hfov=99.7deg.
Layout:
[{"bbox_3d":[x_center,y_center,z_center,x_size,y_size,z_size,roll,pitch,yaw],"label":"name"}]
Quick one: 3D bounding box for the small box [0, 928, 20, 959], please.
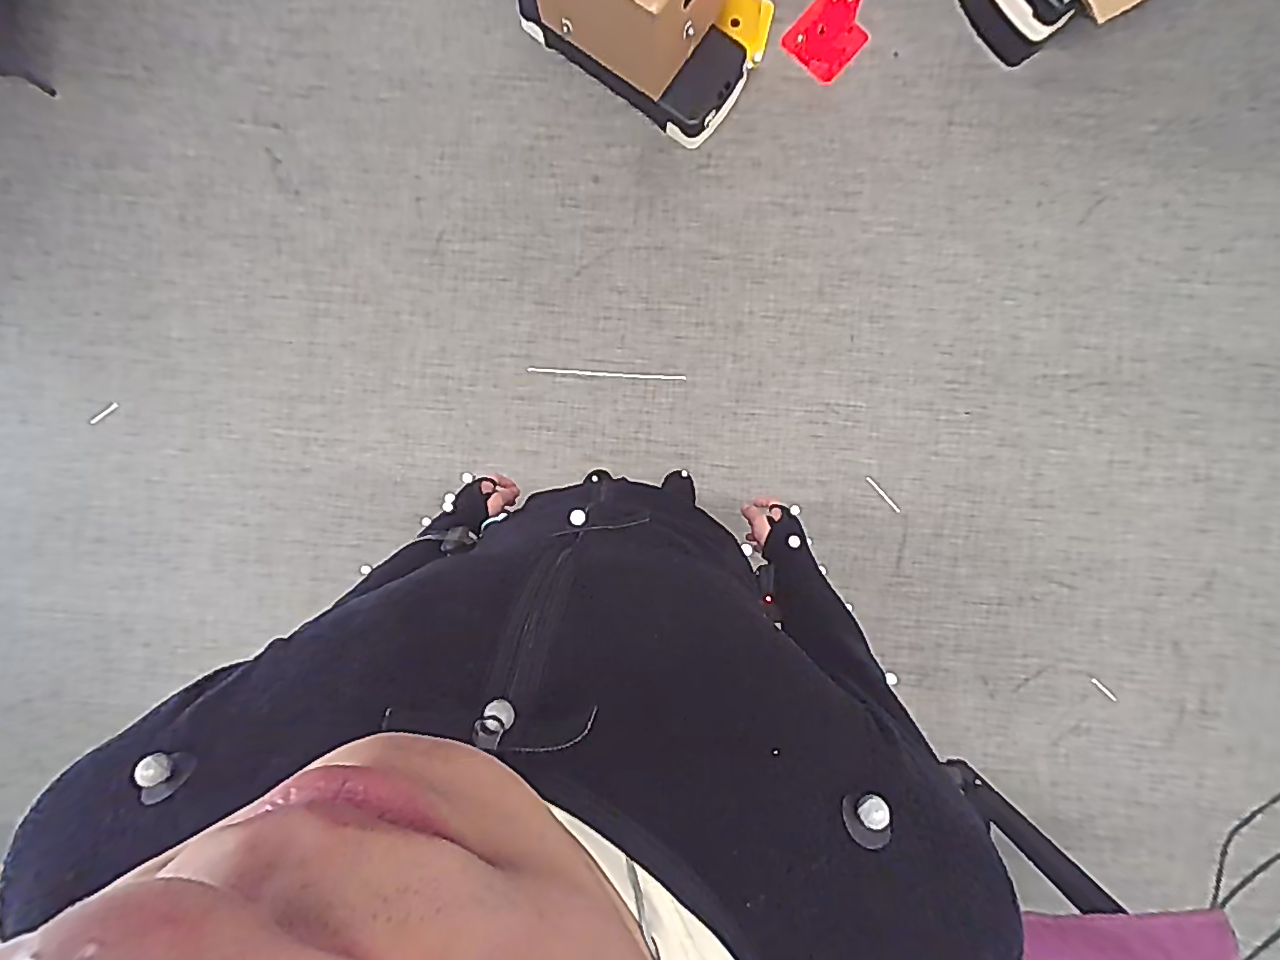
[{"bbox_3d":[-1.544,1.120,1.182,0.179,0.176,0.168,6,90,0],"label":"small box"}]
